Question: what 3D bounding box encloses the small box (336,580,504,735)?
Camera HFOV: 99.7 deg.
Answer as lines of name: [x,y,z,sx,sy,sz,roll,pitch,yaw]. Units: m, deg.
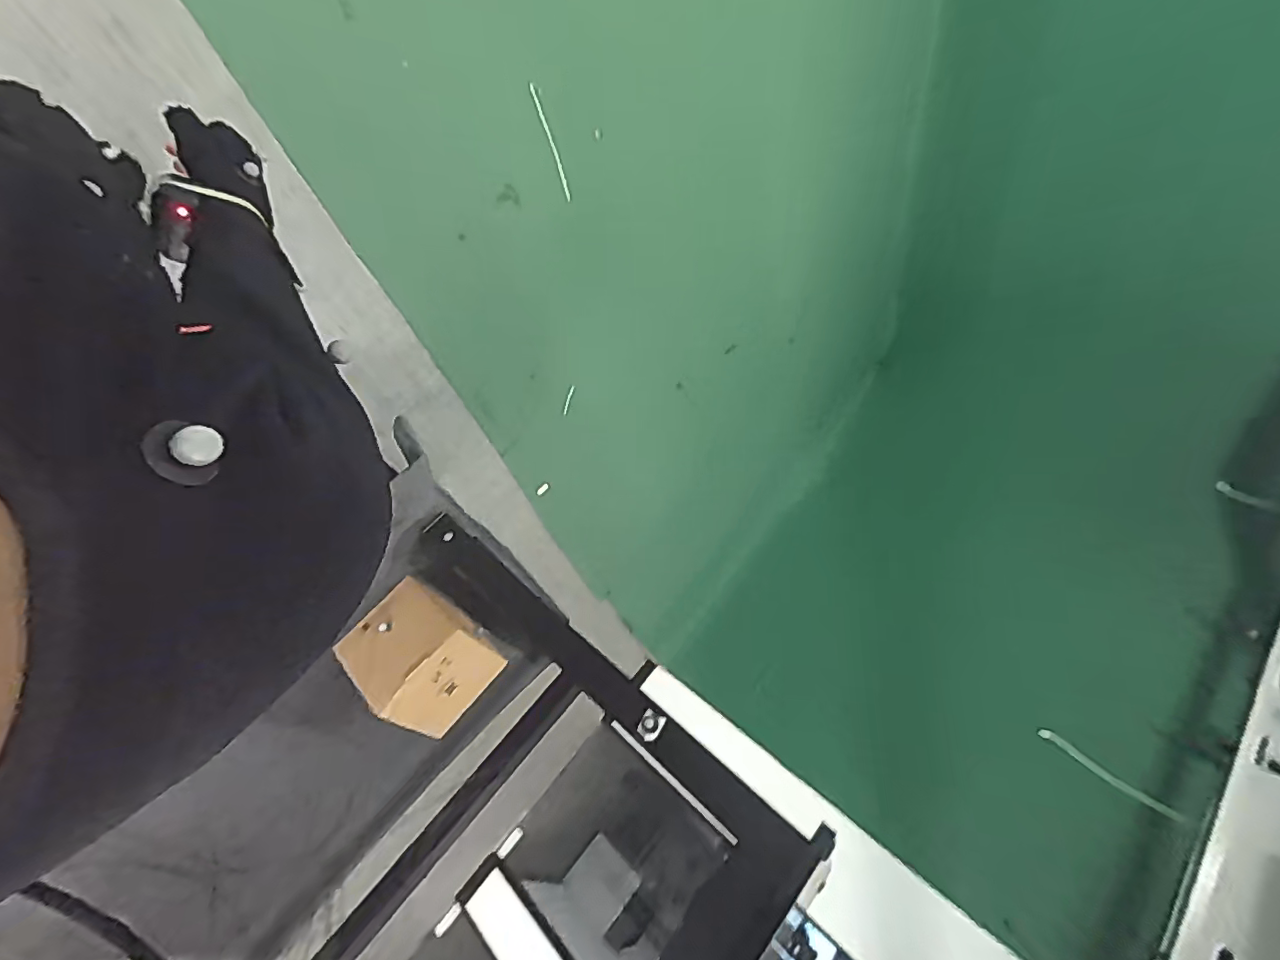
small box: [-0.378,0.303,0.938,0.168,0.176,0.179,-48,145,-18]
